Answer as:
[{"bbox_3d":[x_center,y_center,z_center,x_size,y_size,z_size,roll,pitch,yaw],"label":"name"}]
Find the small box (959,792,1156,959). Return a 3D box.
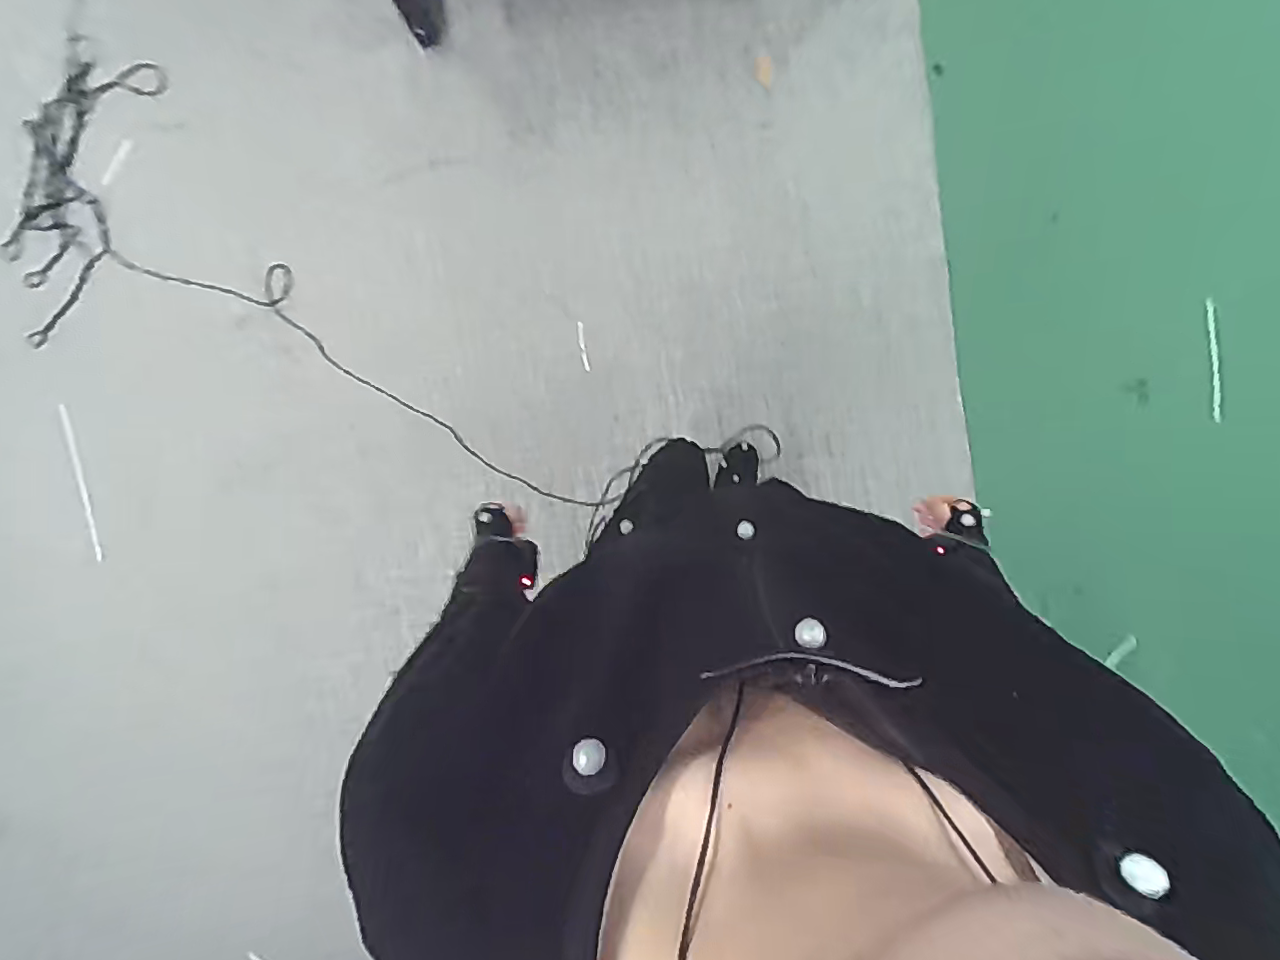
[{"bbox_3d":[0.721,0.704,0.956,0.179,0.176,0.168,42,93,0],"label":"small box"}]

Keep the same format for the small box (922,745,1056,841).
[{"bbox_3d":[0.735,0.695,1.118,0.179,0.176,0.168,45,94,0],"label":"small box"}]
